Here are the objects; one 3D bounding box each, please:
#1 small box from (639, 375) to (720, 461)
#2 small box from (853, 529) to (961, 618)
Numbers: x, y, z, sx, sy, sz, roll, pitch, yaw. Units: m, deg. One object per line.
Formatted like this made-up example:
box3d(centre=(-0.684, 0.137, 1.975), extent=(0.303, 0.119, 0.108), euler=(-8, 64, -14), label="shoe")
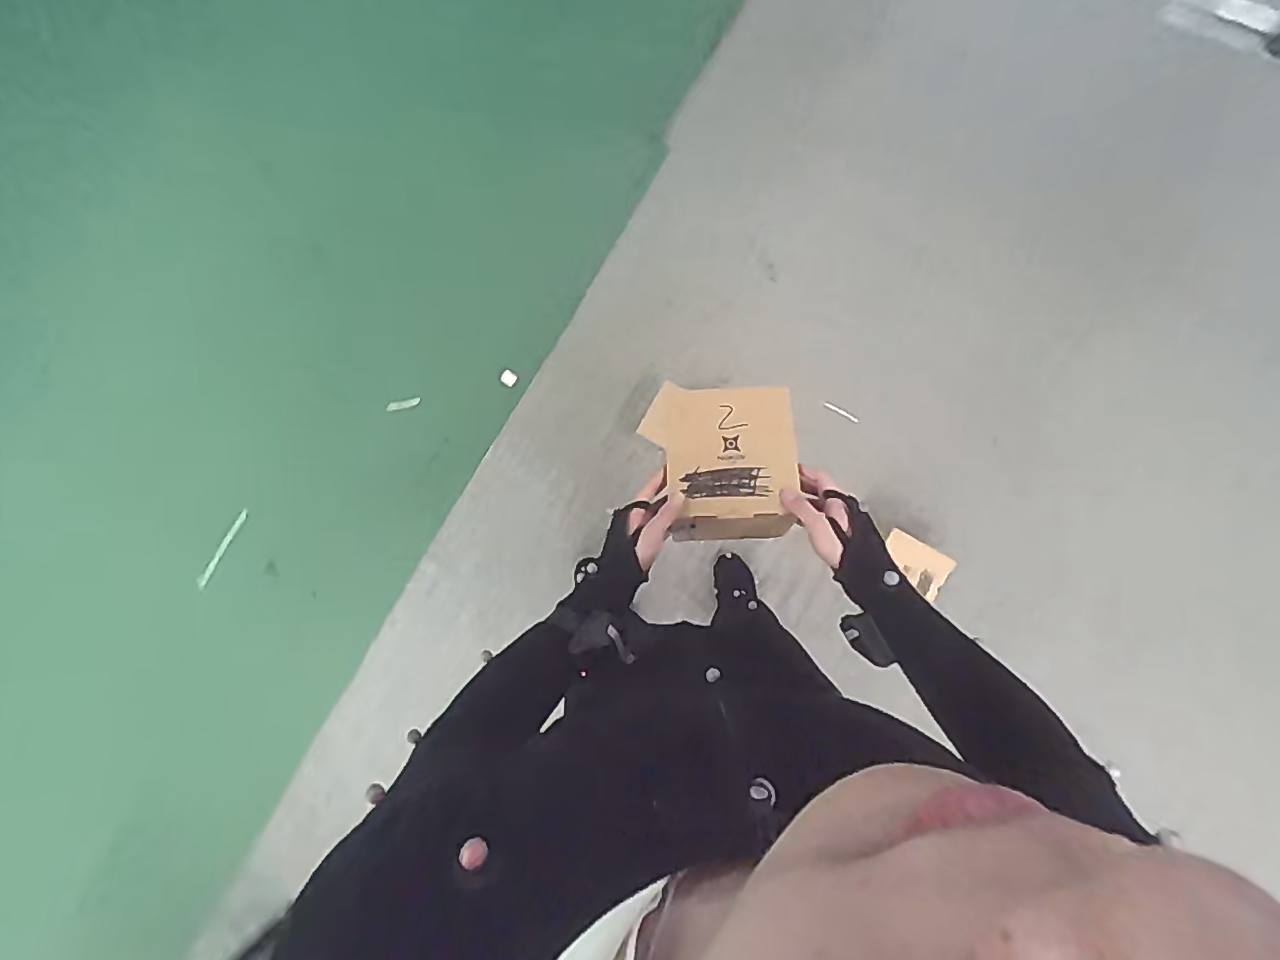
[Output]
box3d(centre=(0.122, -0.171, 1.561), extent=(0.168, 0.176, 0.179), euler=(31, 91, 9), label="small box")
box3d(centre=(0.700, 0.239, 1.438), extent=(0.179, 0.176, 0.168), euler=(32, 91, 10), label="small box")
